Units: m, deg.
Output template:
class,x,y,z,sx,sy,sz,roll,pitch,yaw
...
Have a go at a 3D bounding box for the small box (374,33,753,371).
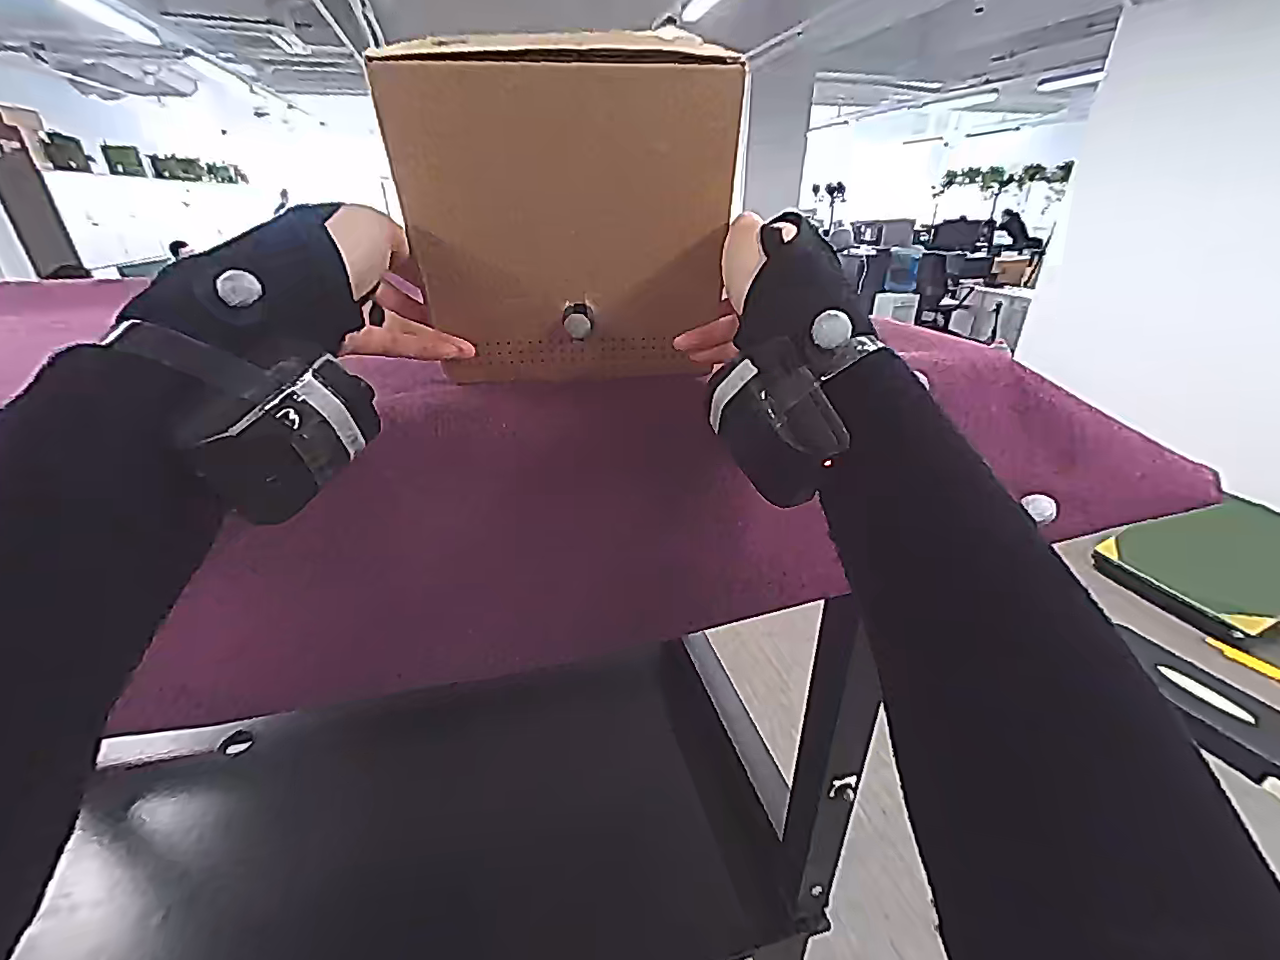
class,x,y,z,sx,sy,sz,roll,pitch,yaw
small box,-0.042,-0.183,0.357,0.179,0.176,0.168,-3,39,-5
